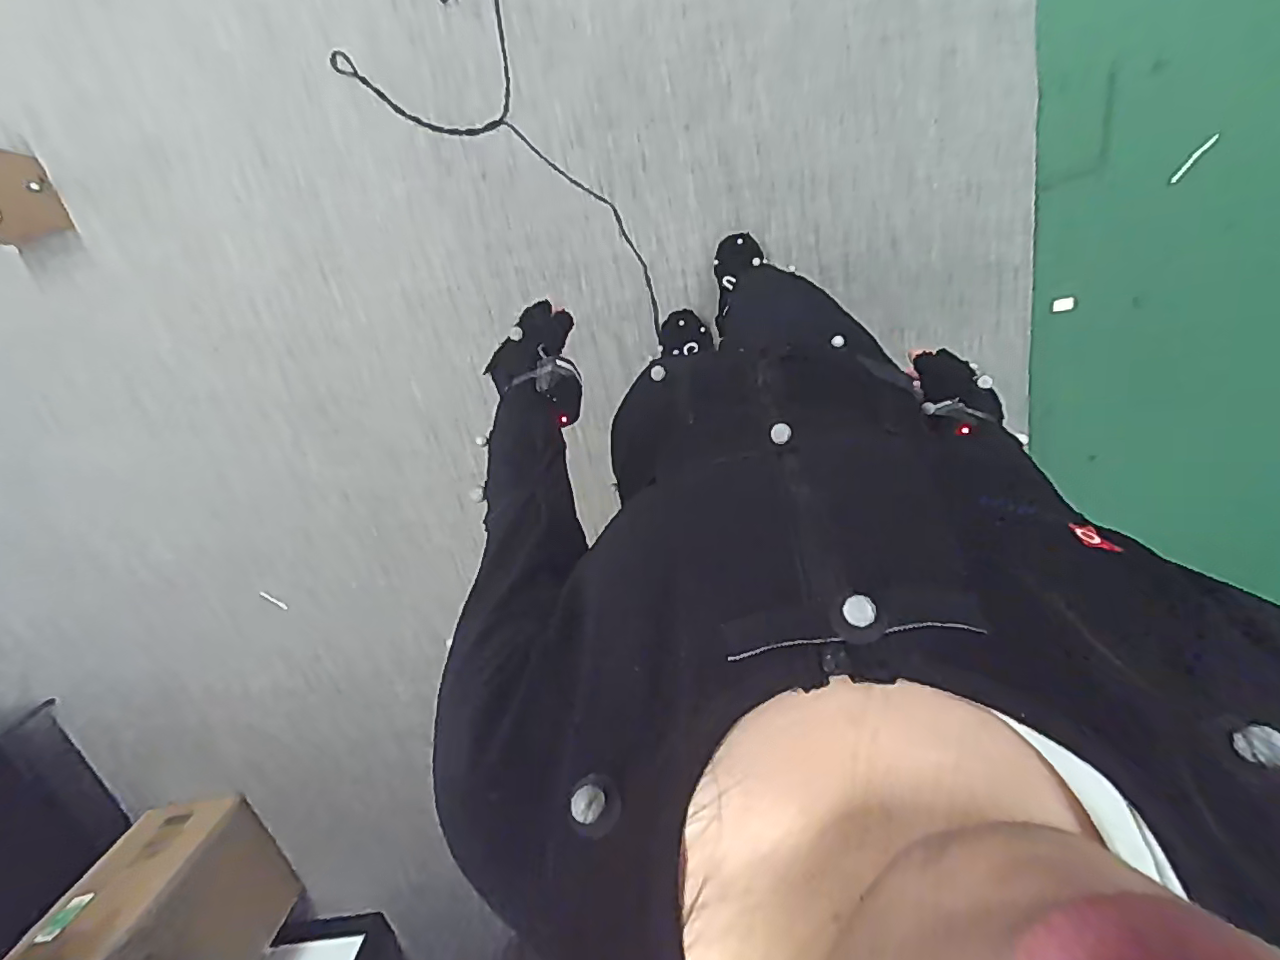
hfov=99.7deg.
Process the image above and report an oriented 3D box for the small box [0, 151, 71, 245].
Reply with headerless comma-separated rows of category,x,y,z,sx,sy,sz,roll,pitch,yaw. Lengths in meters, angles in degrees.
small box,-1.522,-0.658,1.264,0.179,0.176,0.168,-13,110,7
